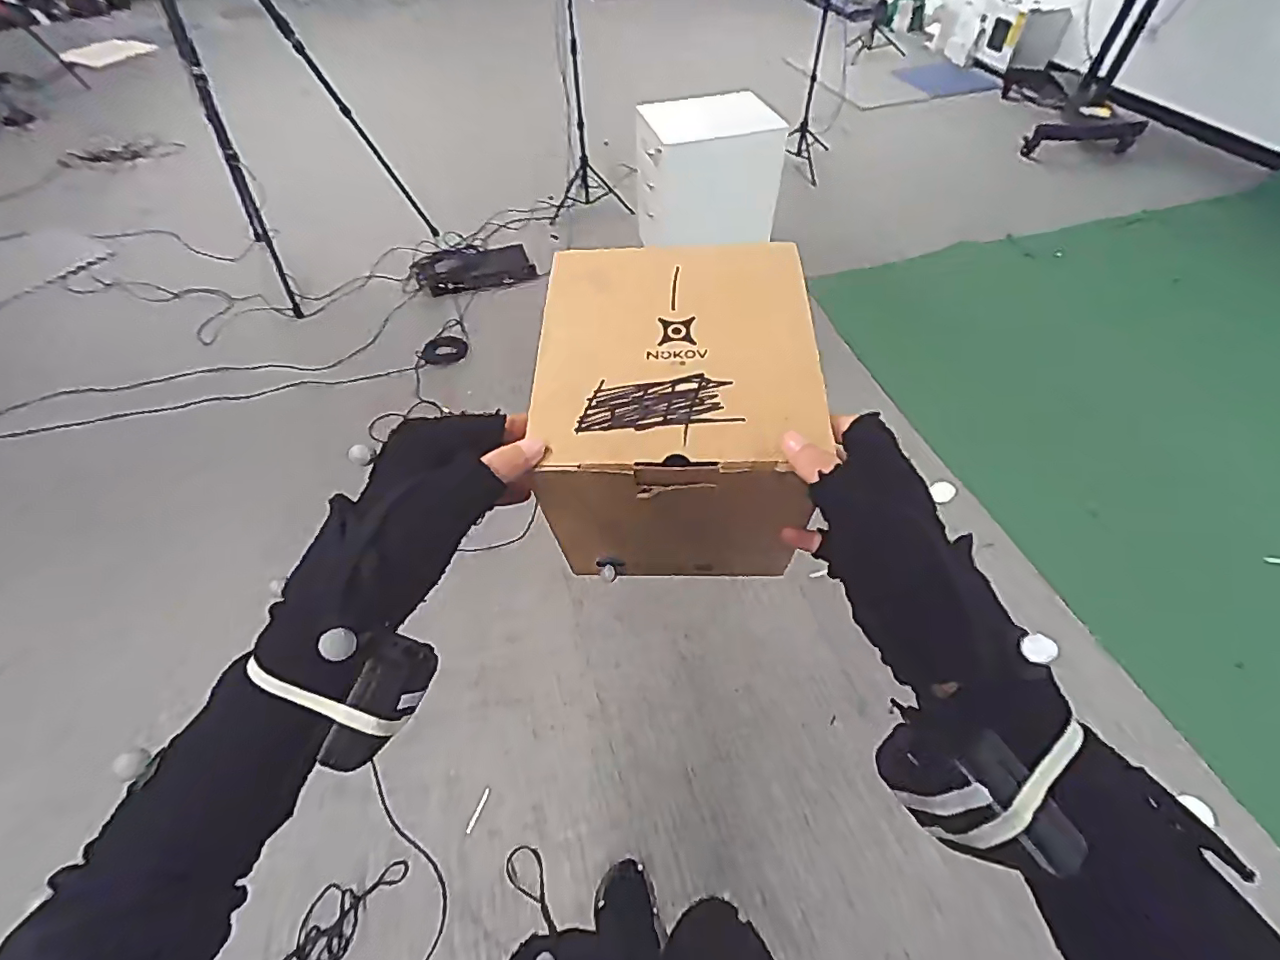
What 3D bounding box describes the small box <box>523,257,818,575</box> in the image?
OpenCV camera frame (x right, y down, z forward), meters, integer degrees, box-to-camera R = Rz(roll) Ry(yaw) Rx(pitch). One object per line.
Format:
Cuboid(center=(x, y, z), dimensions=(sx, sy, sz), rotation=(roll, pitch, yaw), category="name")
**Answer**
Cuboid(center=(0.024, -0.036, 0.402), dimensions=(0.168, 0.176, 0.179), rotation=(0, 60, 4), category="small box")
